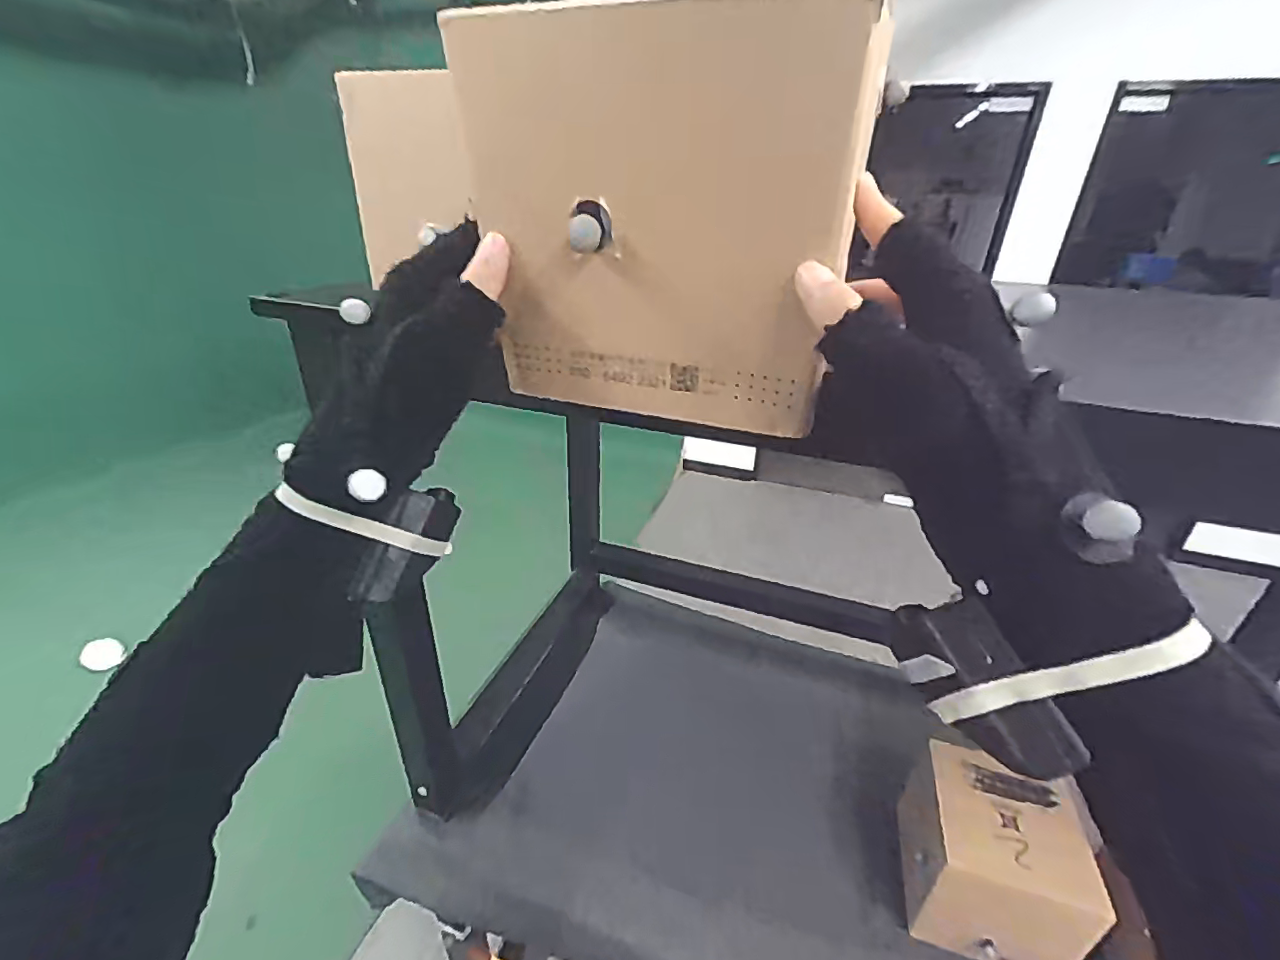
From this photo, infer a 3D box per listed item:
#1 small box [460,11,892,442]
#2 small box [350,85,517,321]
[{"bbox_3d":[0.034,-0.140,0.304,0.168,0.176,0.179,11,38,17],"label":"small box"},{"bbox_3d":[-0.133,-0.259,0.516,0.168,0.176,0.179,11,29,15],"label":"small box"}]
